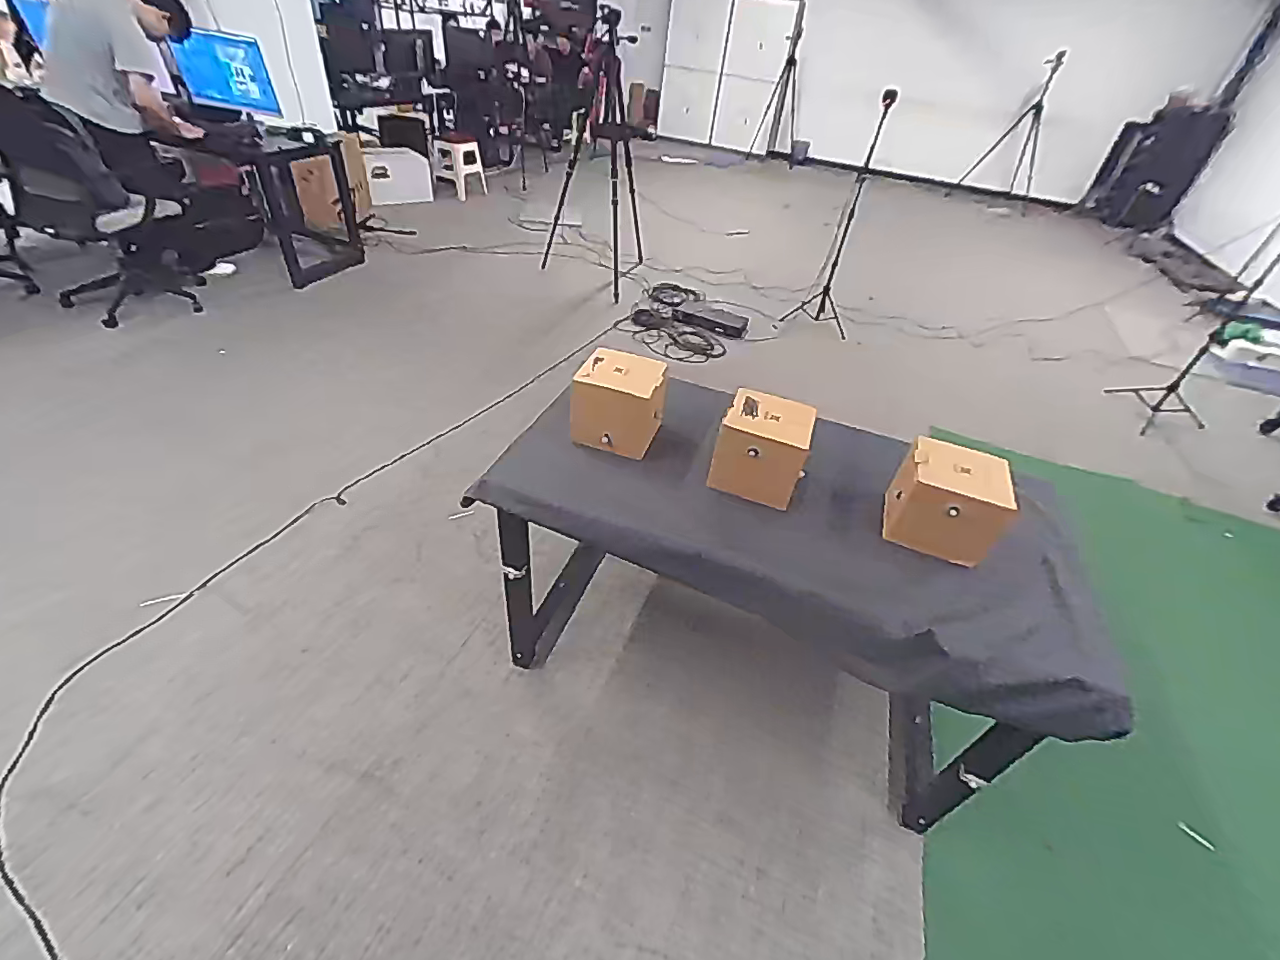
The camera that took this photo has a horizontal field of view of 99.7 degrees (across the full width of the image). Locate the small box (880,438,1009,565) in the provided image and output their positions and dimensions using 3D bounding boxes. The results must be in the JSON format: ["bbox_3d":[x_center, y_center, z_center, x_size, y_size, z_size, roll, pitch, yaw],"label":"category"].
[{"bbox_3d":[0.609,0.046,1.103,0.179,0.176,0.168,19,43,12],"label":"small box"}]

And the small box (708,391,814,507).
[{"bbox_3d":[0.258,-0.065,1.173,0.179,0.176,0.168,18,41,11],"label":"small box"}]

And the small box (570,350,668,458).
[{"bbox_3d":[-0.049,-0.173,1.248,0.179,0.176,0.168,17,41,9],"label":"small box"}]
